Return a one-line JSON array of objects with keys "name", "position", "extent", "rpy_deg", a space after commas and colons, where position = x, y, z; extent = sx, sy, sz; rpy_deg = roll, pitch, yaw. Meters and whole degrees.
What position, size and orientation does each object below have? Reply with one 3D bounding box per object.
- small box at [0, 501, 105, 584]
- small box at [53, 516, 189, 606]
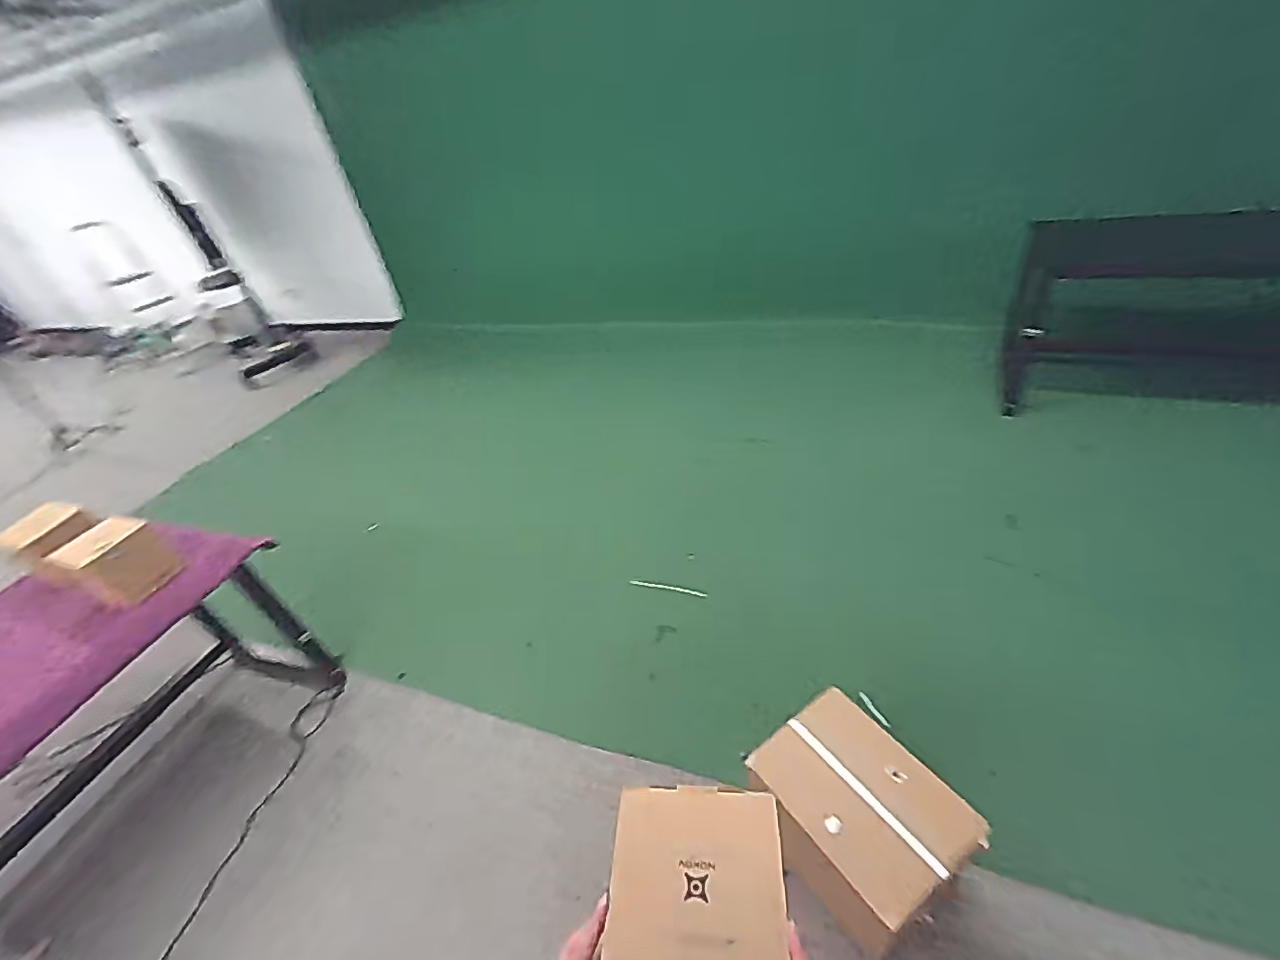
[{"name": "small box", "position": [-1.684, 0.183, 1.578], "extent": [0.179, 0.176, 0.168], "rpy_deg": [6, 43, 20]}, {"name": "small box", "position": [-1.389, 0.219, 1.459], "extent": [0.179, 0.176, 0.168], "rpy_deg": [5, 42, 24]}]
